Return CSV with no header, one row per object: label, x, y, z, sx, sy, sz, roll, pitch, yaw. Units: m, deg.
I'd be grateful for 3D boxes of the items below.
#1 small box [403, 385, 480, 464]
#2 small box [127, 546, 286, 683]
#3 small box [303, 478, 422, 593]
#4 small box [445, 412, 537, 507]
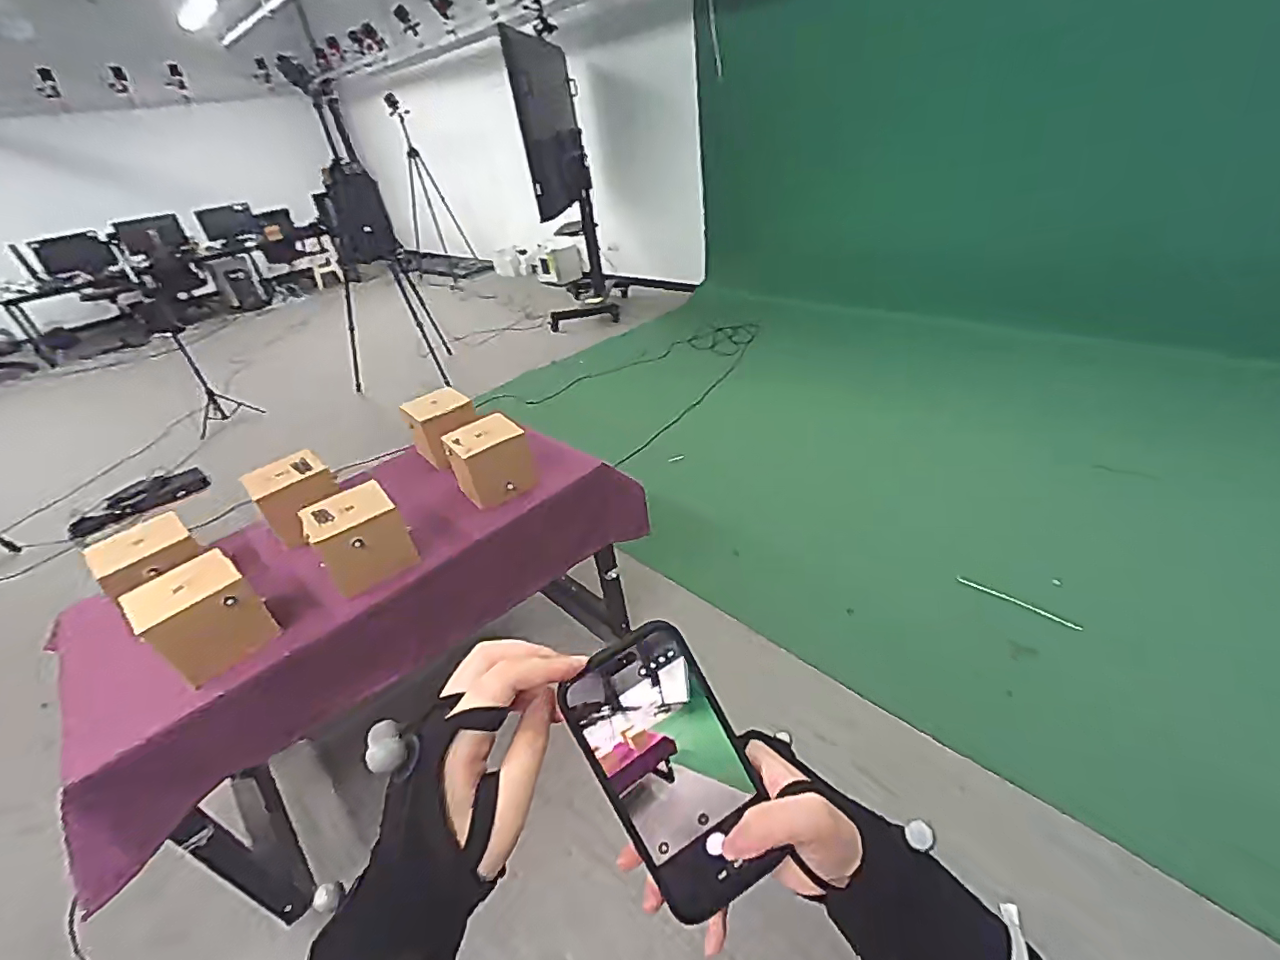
small box,-0.599,-0.170,1.667,0.168,0.176,0.179,-31,41,-28
small box,-0.866,0.269,1.089,0.168,0.176,0.179,20,42,36
small box,-0.633,0.127,1.243,0.179,0.176,0.168,-28,39,-28
small box,-0.394,-0.057,1.458,0.179,0.176,0.168,-28,38,-26
